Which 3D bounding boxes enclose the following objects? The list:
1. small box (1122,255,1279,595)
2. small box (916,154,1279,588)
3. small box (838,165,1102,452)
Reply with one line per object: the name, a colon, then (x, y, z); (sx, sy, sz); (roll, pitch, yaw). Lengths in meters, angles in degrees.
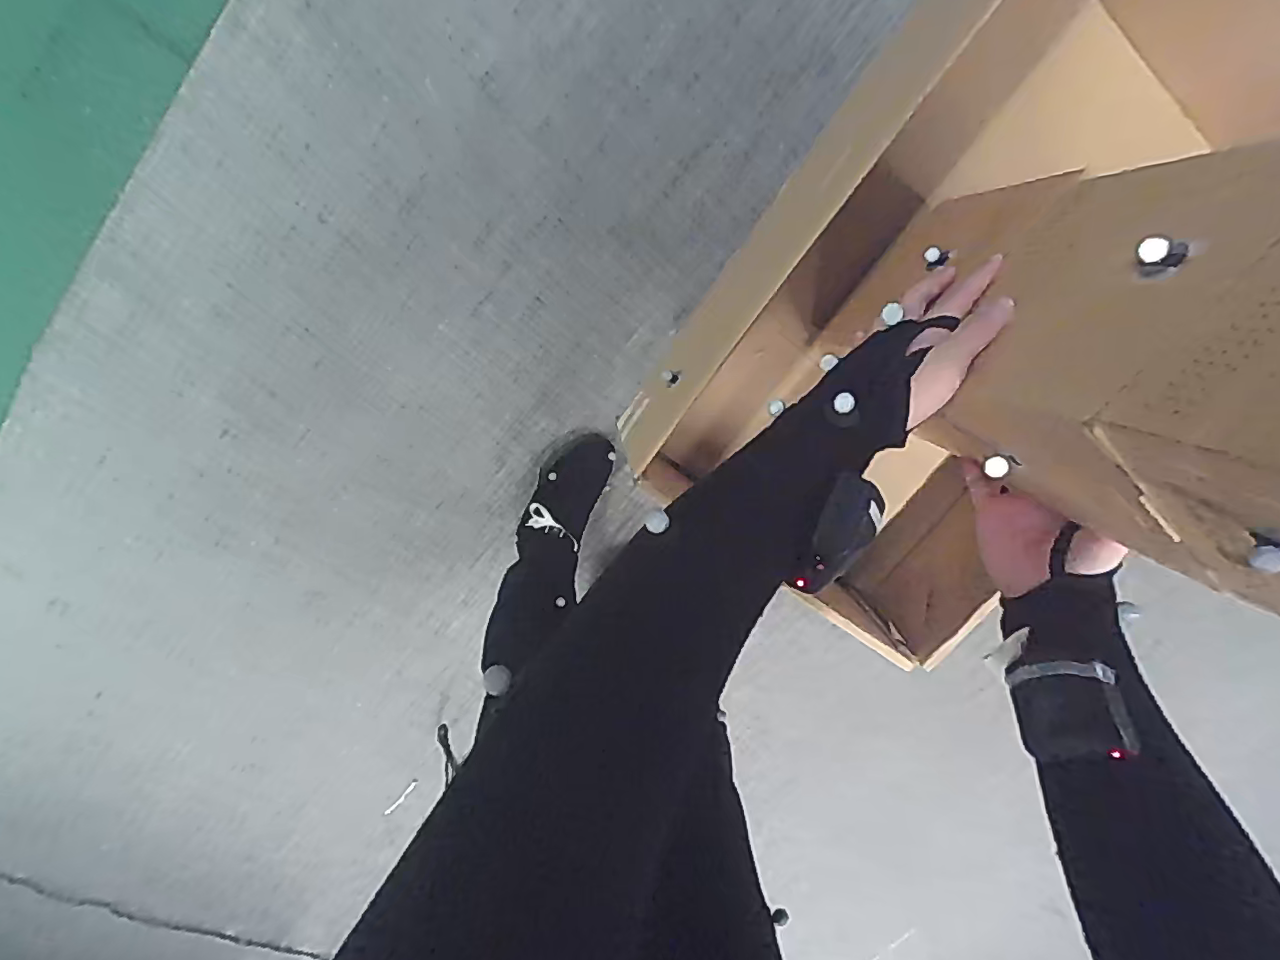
small box: (0.344, -0.024, 0.189); (0.168, 0.176, 0.179); (37, 102, -18)
small box: (0.324, -0.075, 0.342); (0.168, 0.176, 0.179); (37, 102, -17)
small box: (0.311, -0.138, 0.494); (0.168, 0.176, 0.179); (37, 100, -17)
